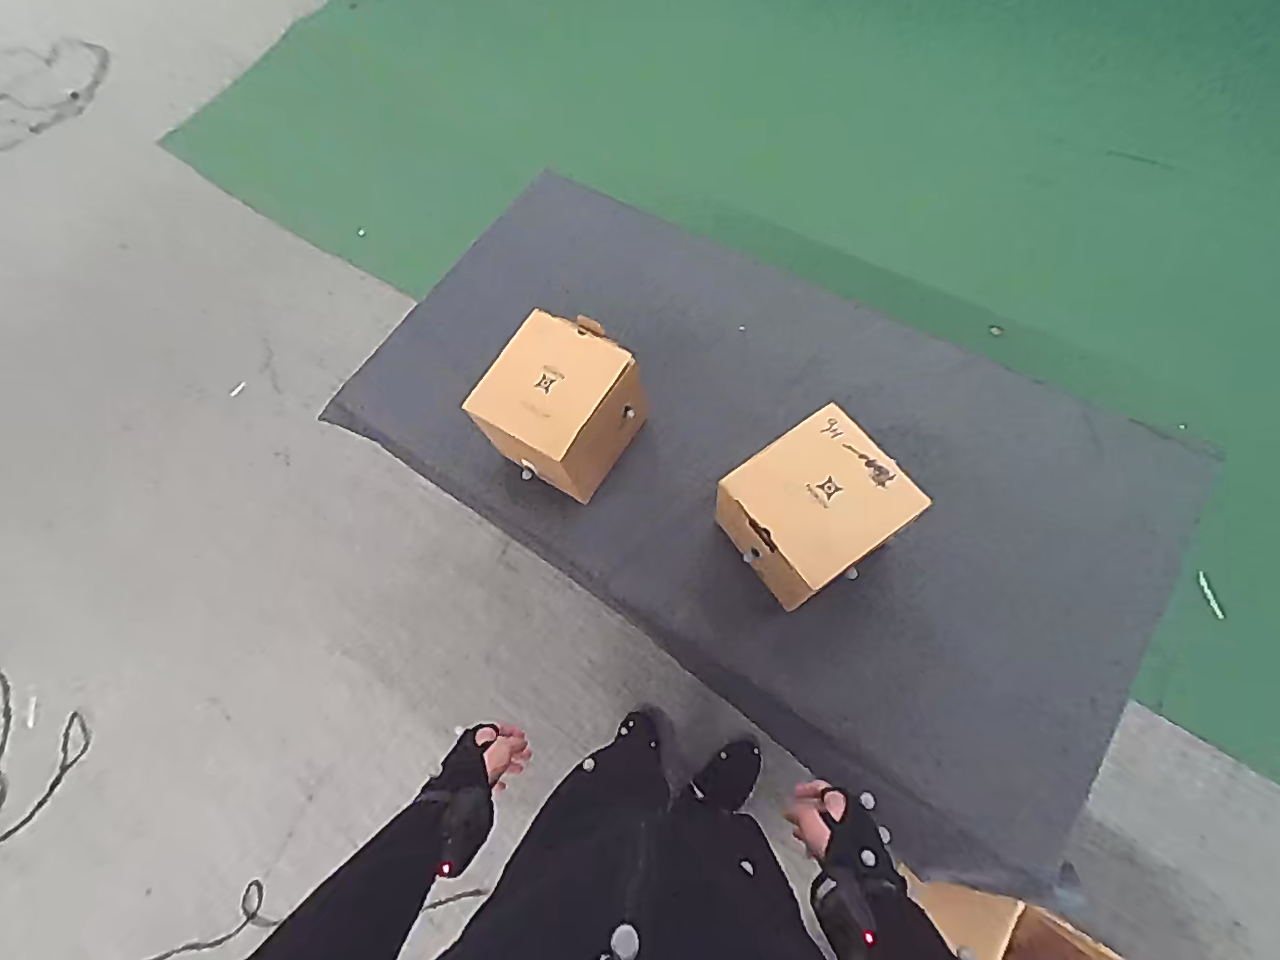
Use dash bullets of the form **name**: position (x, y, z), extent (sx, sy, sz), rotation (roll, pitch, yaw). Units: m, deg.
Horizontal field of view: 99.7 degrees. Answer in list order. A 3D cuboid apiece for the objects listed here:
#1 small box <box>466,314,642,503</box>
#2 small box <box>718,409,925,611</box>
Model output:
- **small box**: position (-0.109, -0.096, 0.780), extent (0.168, 0.176, 0.179), rotation (28, 75, 17)
- **small box**: position (0.219, 0.049, 0.699), extent (0.179, 0.176, 0.168), rotation (-34, 68, -7)
